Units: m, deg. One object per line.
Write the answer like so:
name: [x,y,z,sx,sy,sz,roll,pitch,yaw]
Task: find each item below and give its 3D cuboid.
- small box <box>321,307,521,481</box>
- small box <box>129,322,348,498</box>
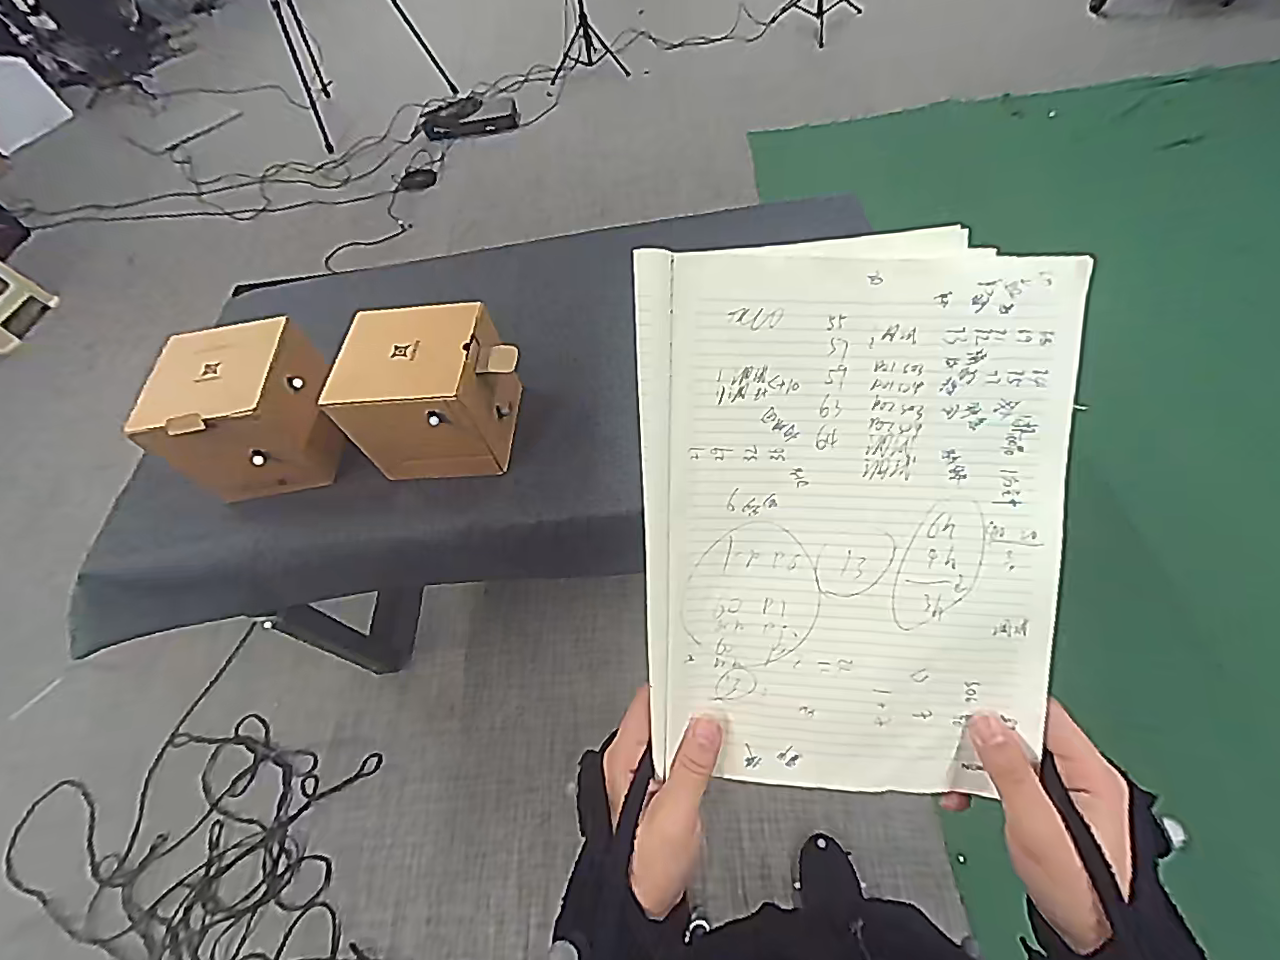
small box: [-0.281,-0.110,0.738,0.179,0.176,0.168,-3,56,6]
small box: [-0.538,-0.089,0.761,0.168,0.176,0.179,-10,55,0]
